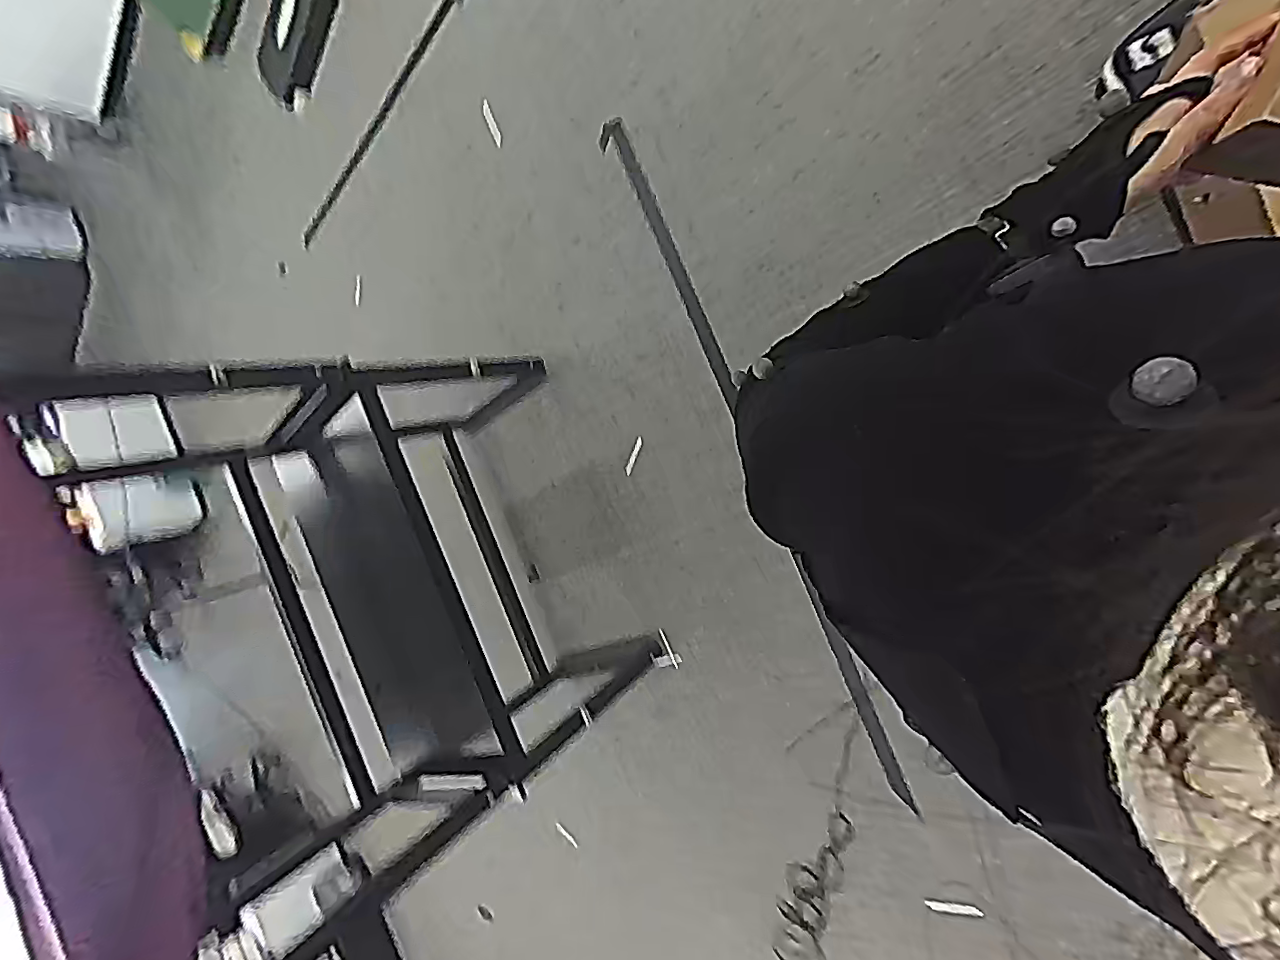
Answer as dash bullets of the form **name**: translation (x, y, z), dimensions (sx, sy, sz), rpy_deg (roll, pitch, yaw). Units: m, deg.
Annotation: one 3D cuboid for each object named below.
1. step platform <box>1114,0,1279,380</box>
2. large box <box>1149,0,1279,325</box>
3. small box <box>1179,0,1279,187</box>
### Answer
- **step platform**: translation (1.050, -0.515, 0.881), dimensions (0.286, 0.204, 0.684), rpy_deg (-17, 91, 36)
- **large box**: translation (0.933, -0.451, 0.681), dimensions (0.320, 0.320, 0.408), rpy_deg (-20, 89, 36)
- **small box**: translation (0.430, -0.235, 0.258), dimensions (0.179, 0.176, 0.168), rpy_deg (27, 121, 23)
